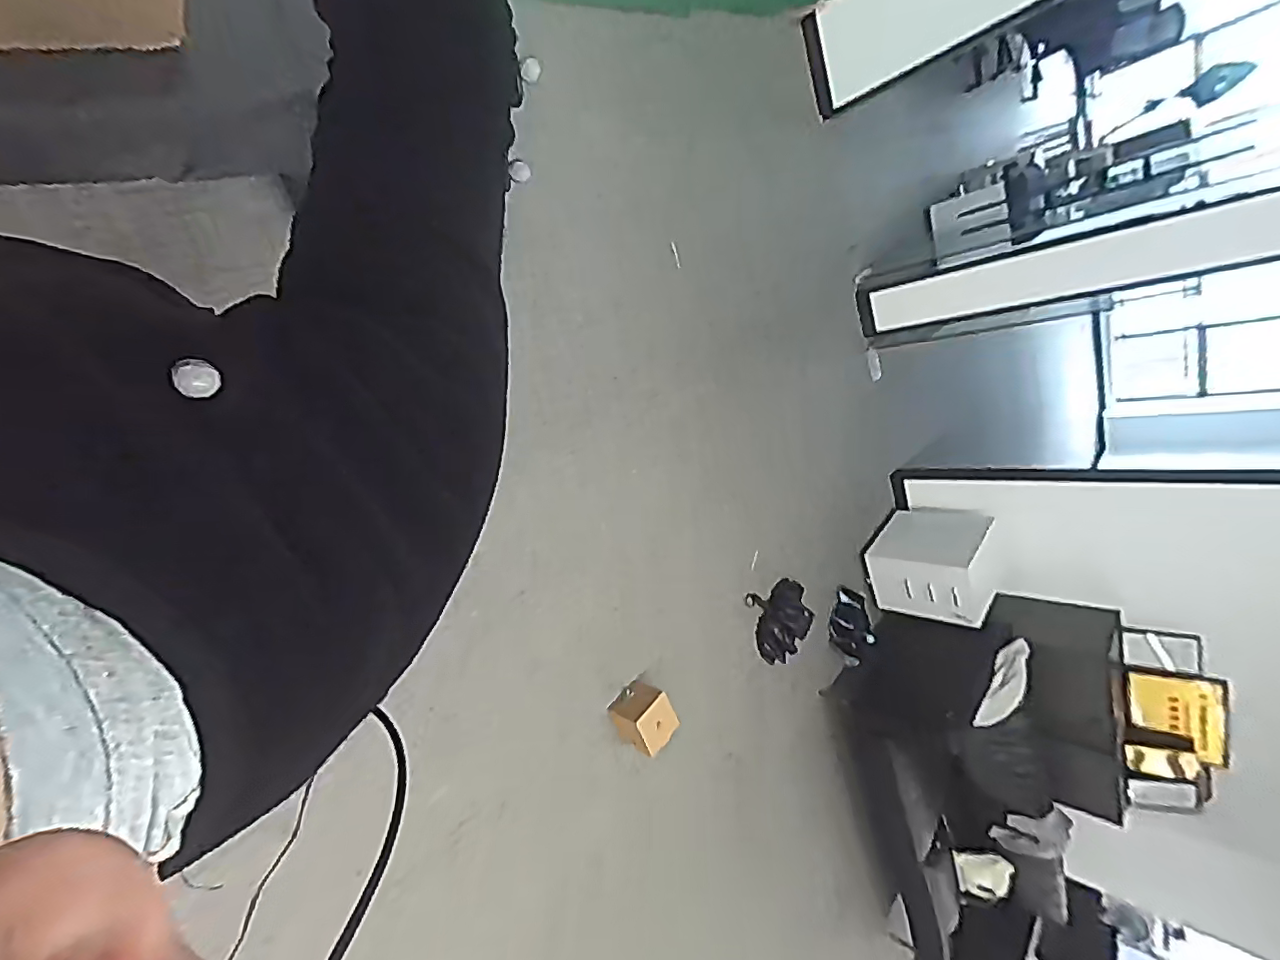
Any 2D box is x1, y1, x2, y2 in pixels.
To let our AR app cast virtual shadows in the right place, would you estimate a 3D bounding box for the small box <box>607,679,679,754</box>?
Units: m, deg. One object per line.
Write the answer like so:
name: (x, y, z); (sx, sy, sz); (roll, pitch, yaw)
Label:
small box: (0.009, 0.878, 2.030); (0.168, 0.176, 0.179); (-40, 115, -36)
